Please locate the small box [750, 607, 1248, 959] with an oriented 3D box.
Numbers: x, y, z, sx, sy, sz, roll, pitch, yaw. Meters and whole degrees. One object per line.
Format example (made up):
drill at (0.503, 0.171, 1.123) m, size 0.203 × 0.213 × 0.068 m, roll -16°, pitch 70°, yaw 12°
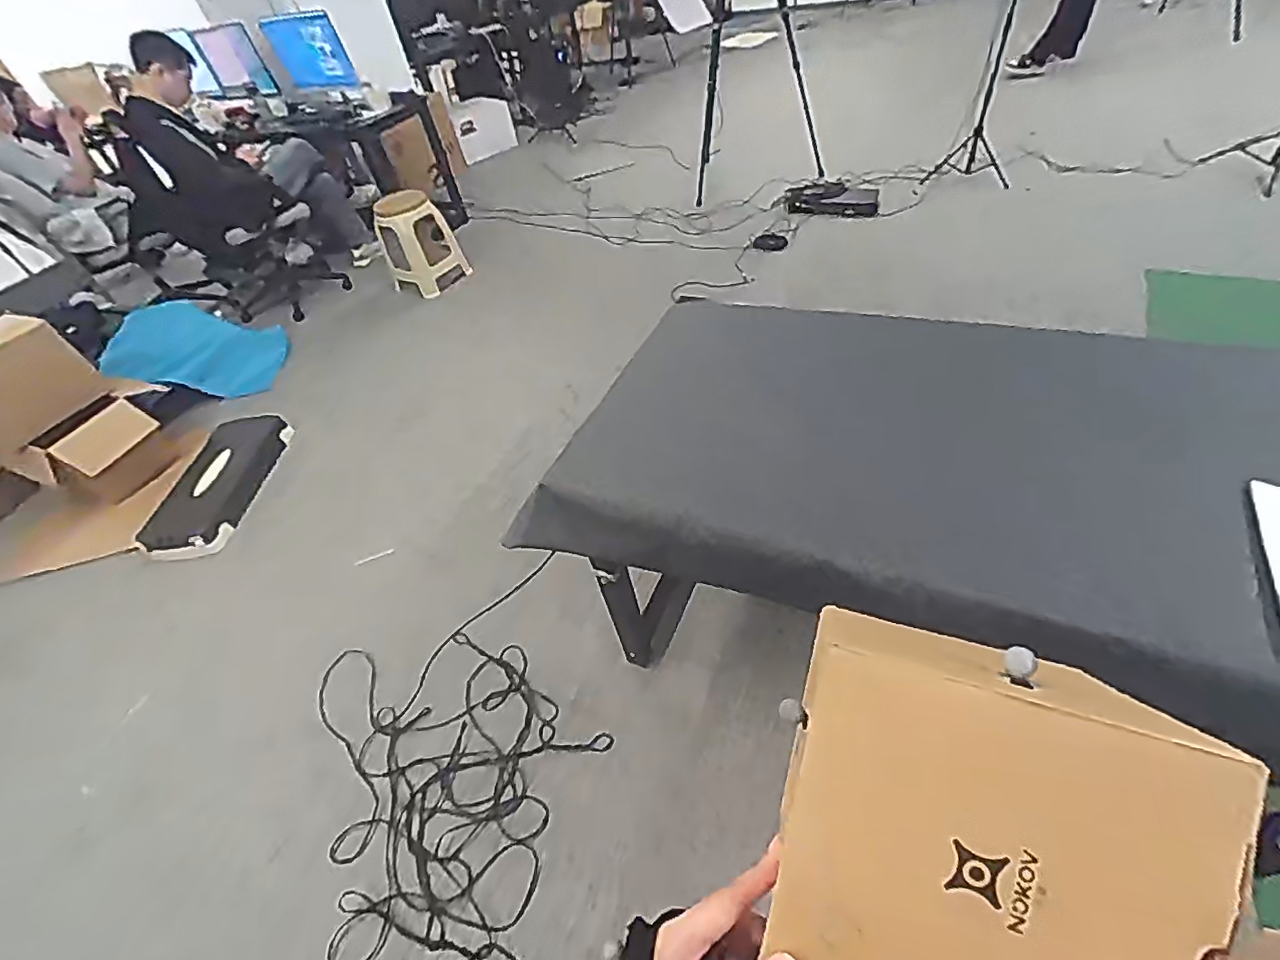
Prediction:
small box at (0.176, 0.179, 0.321) m, size 0.179 × 0.176 × 0.168 m, roll 12°, pitch 87°, yaw 17°
